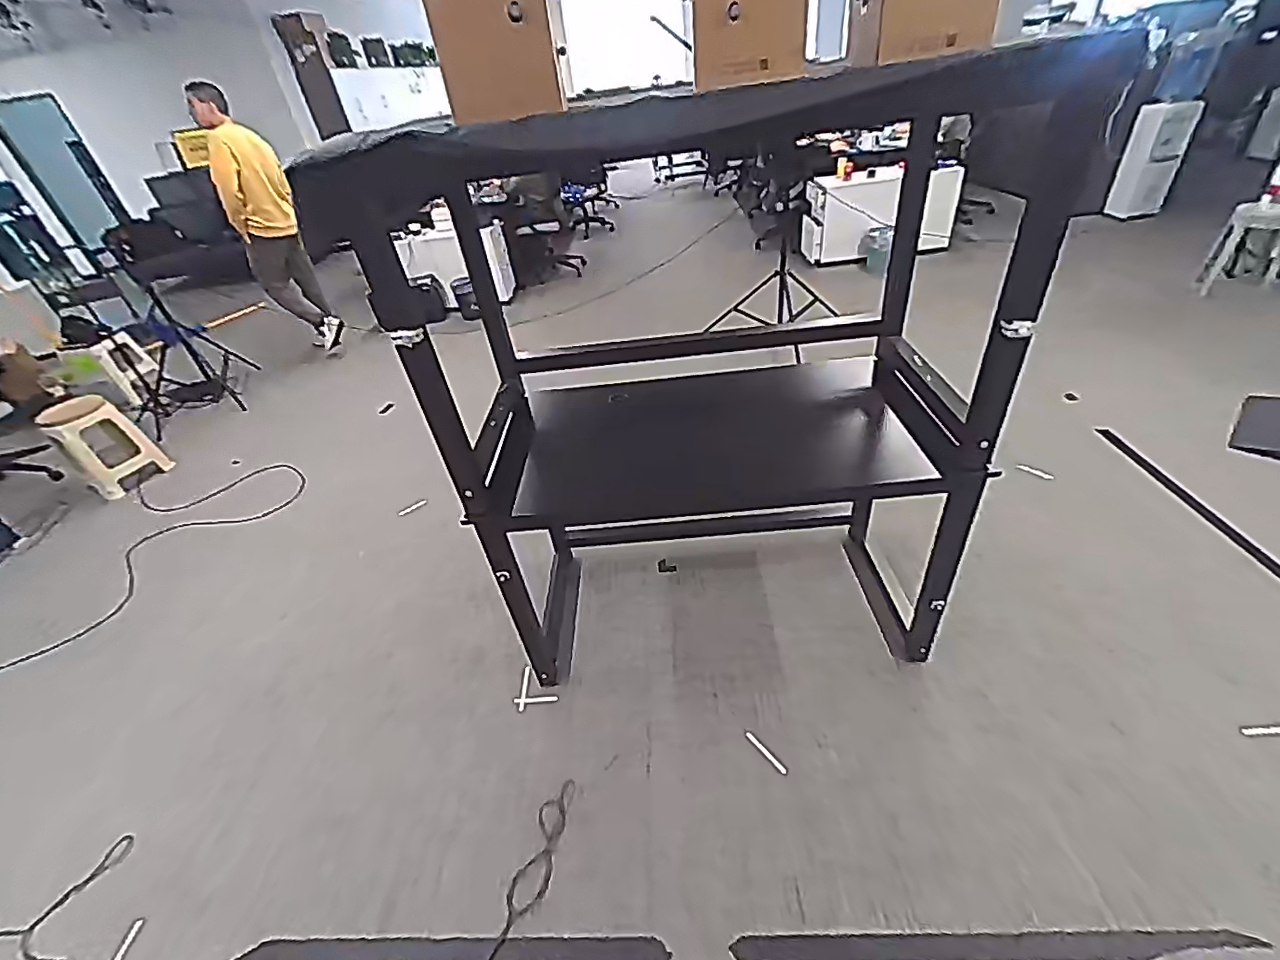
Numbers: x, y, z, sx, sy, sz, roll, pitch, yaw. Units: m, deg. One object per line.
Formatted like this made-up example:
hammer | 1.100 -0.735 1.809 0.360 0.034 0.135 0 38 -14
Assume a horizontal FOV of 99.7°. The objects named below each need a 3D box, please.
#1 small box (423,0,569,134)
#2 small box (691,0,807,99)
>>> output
small box | -0.214 -0.666 0.861 0.179 0.176 0.168 -8 35 1
small box | 0.167 -0.715 0.852 0.168 0.176 0.179 -3 36 7
